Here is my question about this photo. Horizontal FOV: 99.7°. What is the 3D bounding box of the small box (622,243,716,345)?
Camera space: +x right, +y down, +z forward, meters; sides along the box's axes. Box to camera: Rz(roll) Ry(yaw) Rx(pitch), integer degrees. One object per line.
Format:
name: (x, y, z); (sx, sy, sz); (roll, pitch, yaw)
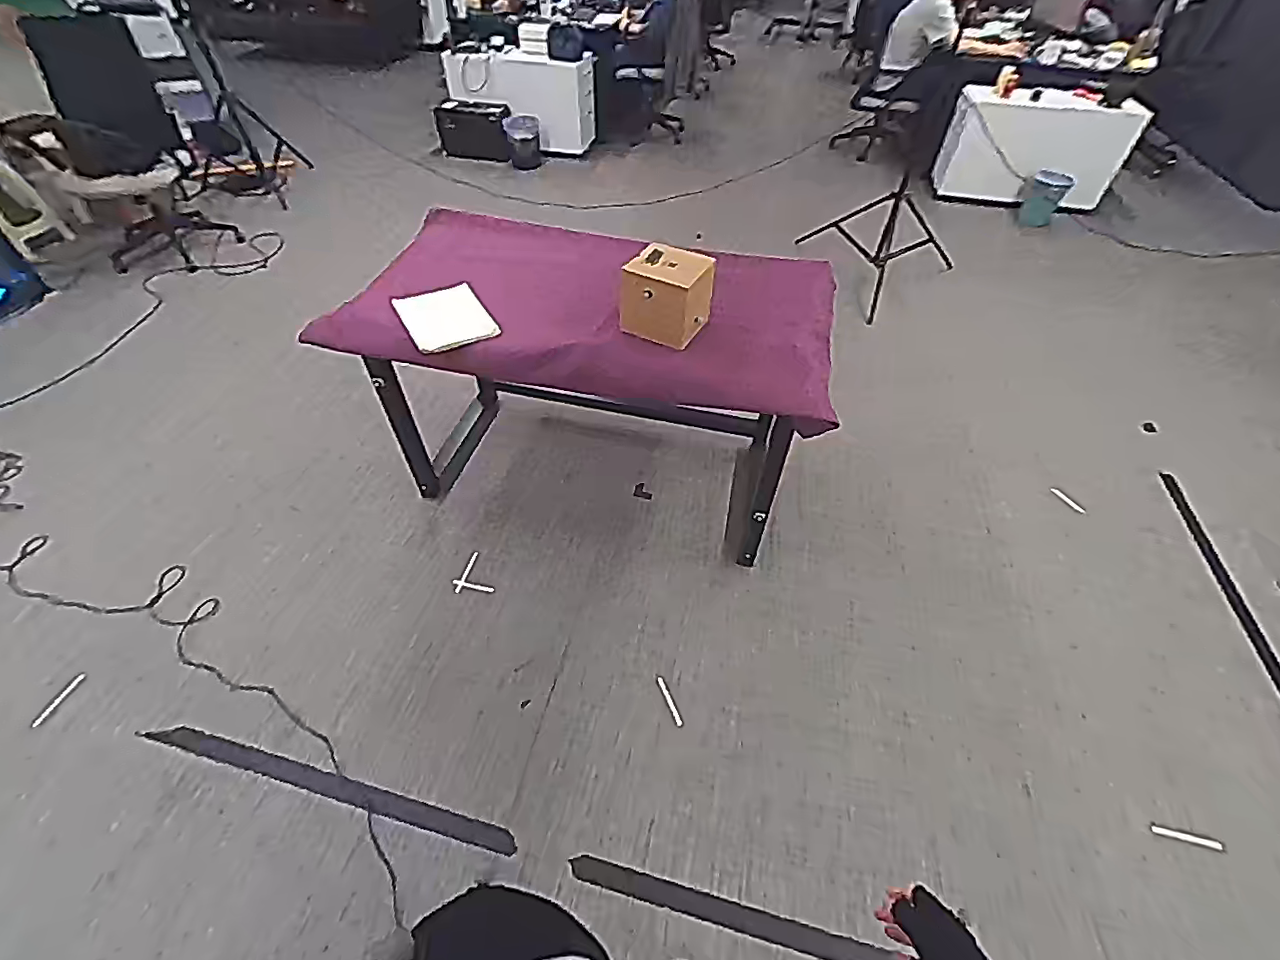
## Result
small box: (0.067, -0.457, 1.338); (0.179, 0.176, 0.168); (23, 51, 18)
